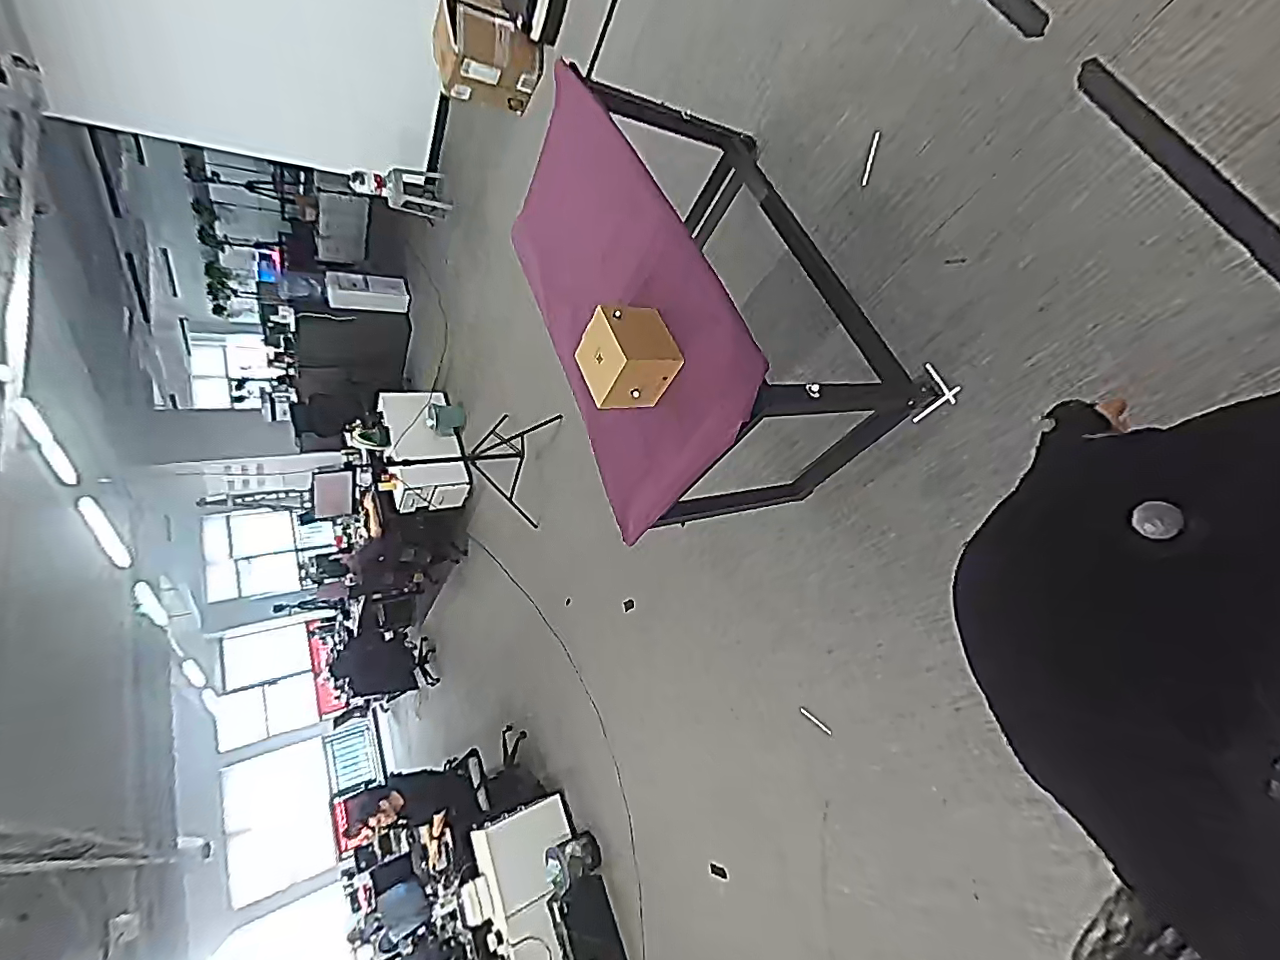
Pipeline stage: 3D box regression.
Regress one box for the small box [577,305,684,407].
[{"bbox_3d":[-0.023,-0.294,1.288,0.168,0.176,0.179,-52,54,46],"label":"small box"}]
